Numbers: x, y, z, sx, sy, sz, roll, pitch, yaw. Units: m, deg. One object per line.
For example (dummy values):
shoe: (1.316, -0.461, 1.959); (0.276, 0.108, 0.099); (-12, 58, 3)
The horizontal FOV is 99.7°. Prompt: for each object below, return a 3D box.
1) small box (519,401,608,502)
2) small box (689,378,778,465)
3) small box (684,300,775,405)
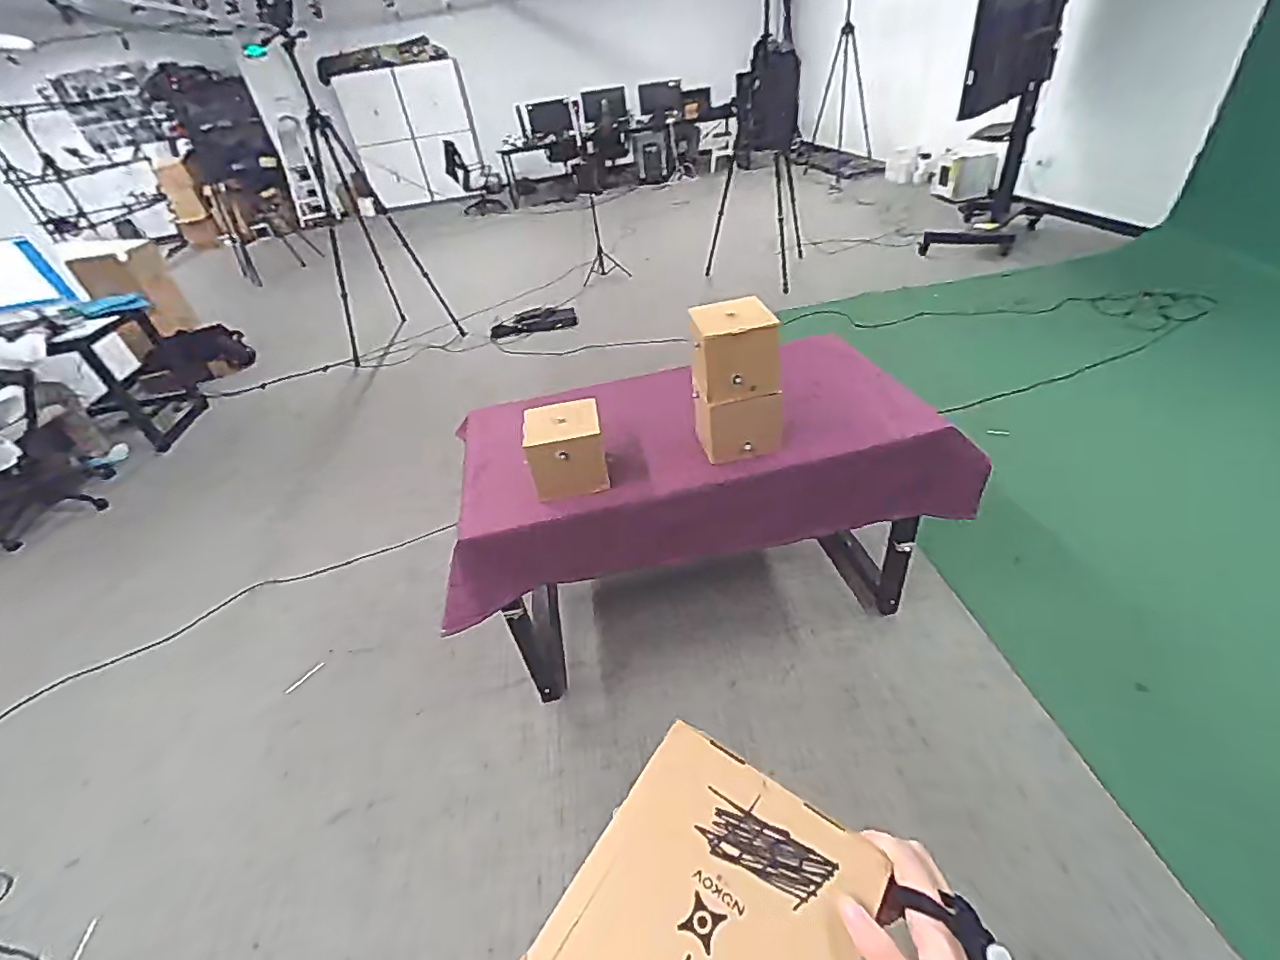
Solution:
small box: (-0.182, -0.065, 1.302); (0.179, 0.176, 0.168); (-10, 38, -2)
small box: (0.226, -0.159, 1.336); (0.179, 0.176, 0.168); (-11, 37, -3)
small box: (0.202, -0.293, 1.245); (0.168, 0.176, 0.179); (-12, 39, -2)
